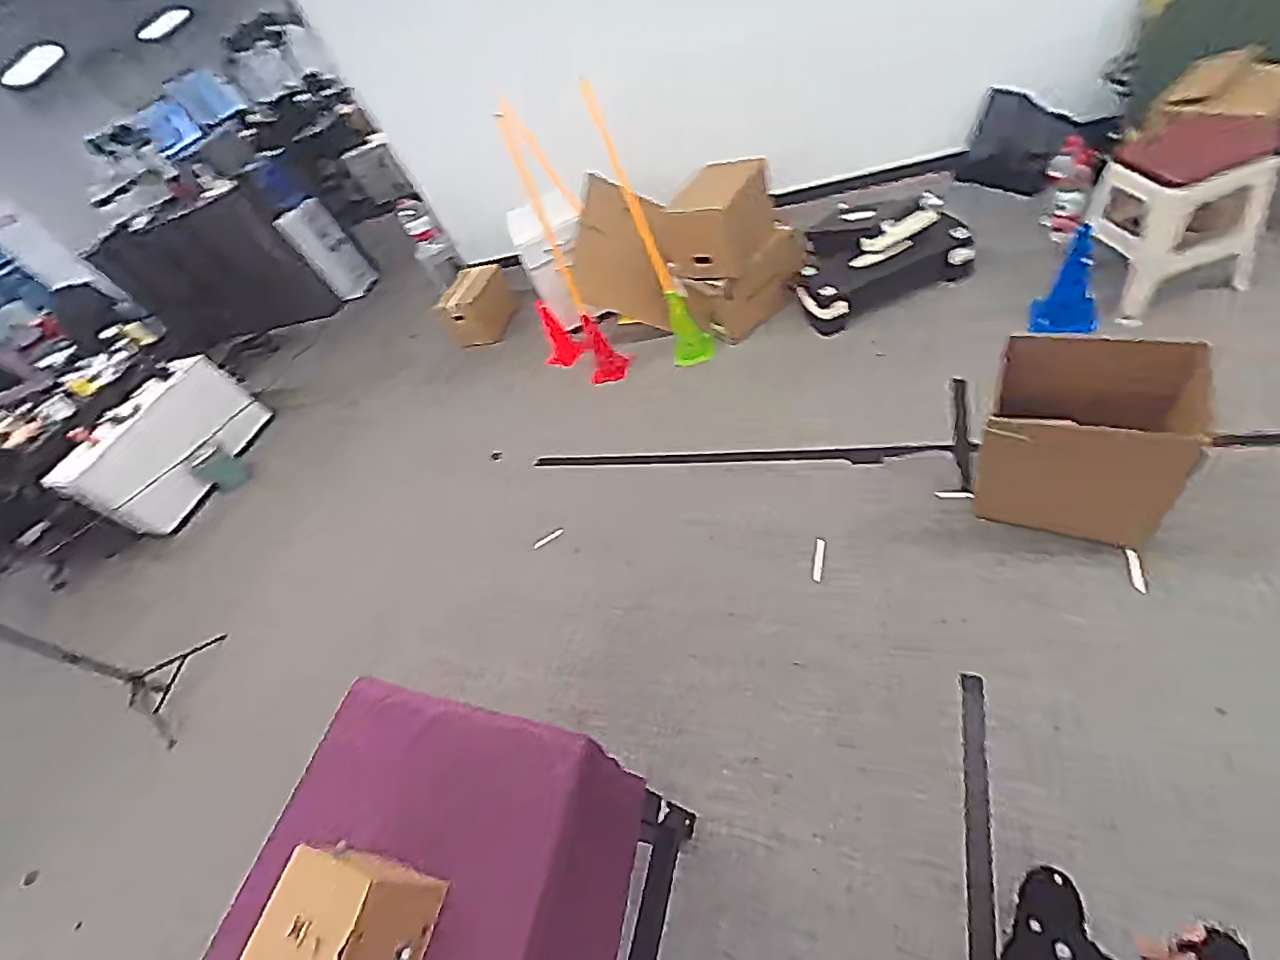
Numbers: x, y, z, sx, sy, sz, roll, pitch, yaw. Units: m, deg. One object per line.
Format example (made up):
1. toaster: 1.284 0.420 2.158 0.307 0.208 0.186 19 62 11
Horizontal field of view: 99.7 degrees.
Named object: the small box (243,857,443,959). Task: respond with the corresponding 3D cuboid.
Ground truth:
1. small box: -0.428 0.672 0.781 0.179 0.176 0.168 -2 53 25
